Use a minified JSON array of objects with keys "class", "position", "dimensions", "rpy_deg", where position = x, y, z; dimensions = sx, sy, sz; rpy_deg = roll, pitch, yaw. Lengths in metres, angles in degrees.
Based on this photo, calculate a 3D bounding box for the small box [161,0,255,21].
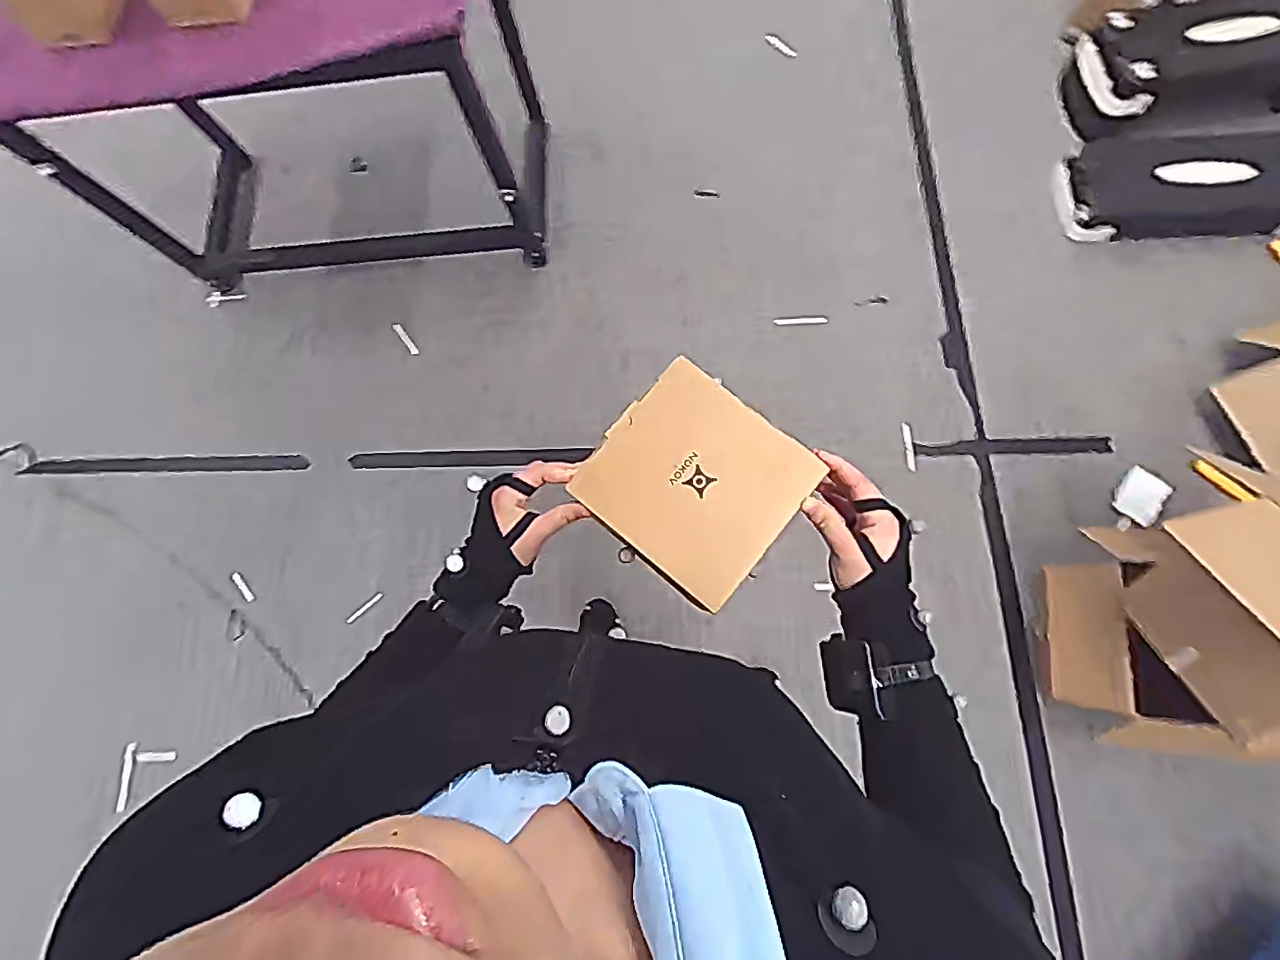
[{"class":"small box","position":[-0.918,-1.081,1.099],"dimensions":[0.179,0.176,0.168],"rpy_deg":[1,76,5]}]
